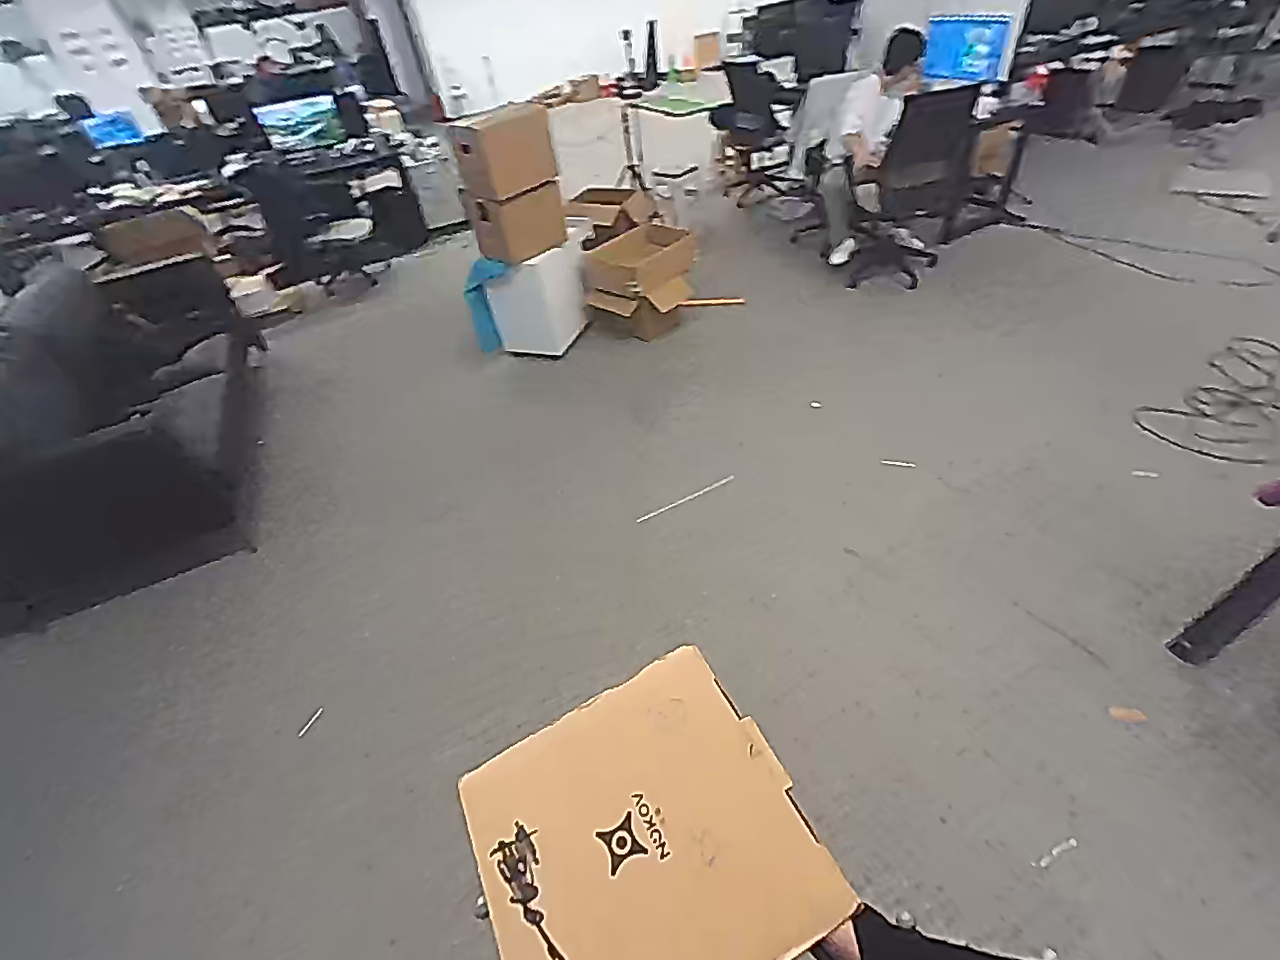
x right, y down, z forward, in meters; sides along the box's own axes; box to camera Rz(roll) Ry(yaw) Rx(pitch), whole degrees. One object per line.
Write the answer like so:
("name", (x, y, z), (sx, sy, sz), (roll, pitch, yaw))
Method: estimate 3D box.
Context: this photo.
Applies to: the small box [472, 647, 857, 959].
("small box", (0.014, 0.253, 0.370), (0.179, 0.176, 0.168), (-26, 47, -11))
